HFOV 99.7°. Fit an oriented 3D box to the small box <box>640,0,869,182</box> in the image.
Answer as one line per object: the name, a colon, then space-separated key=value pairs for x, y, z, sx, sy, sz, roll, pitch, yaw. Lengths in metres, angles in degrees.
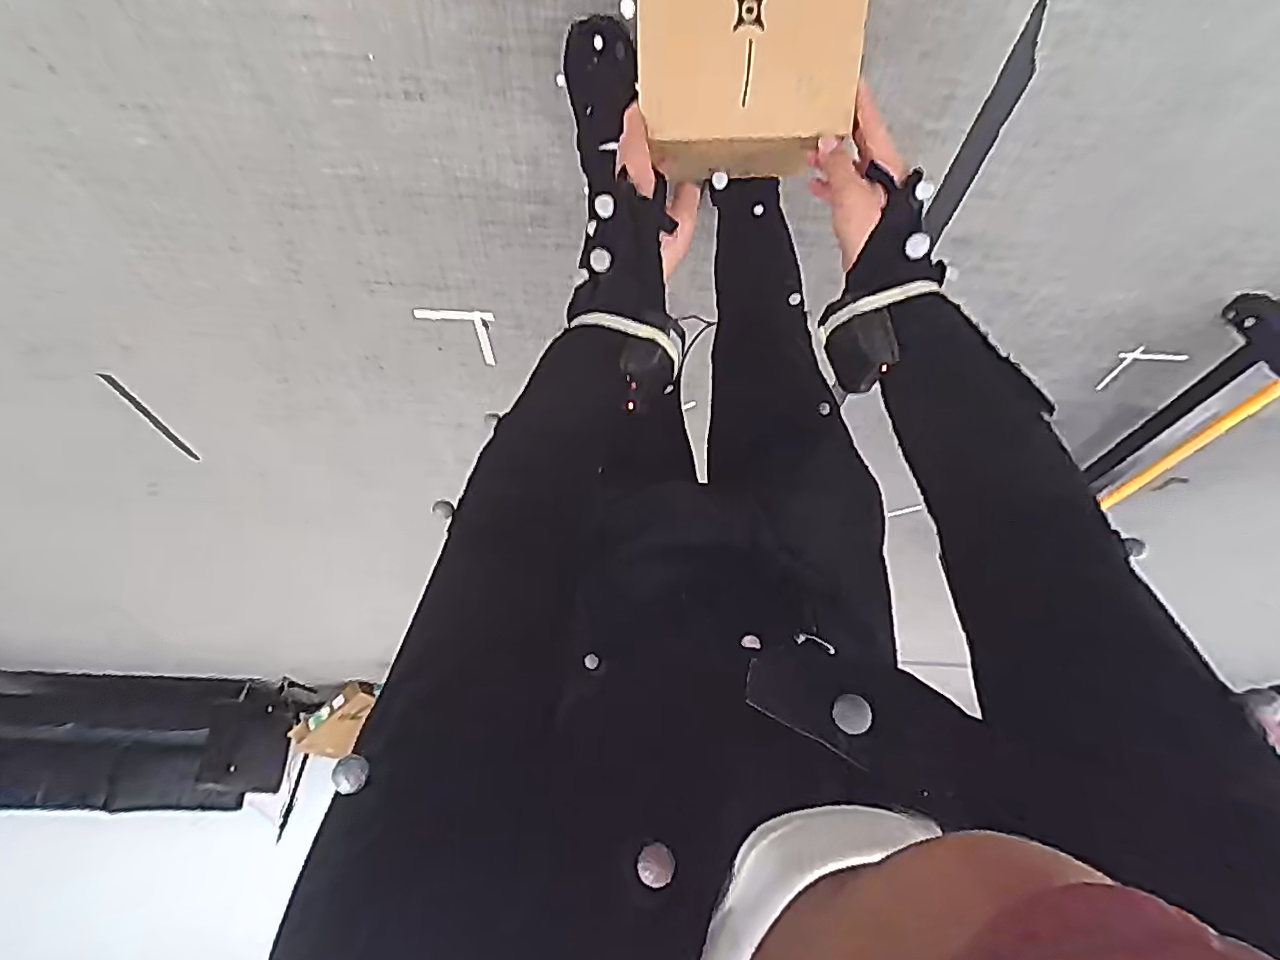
small box: x=0.083 y=-0.367 z=0.460 sx=0.168 sy=0.176 sz=0.179 roll=0 pitch=111 yaw=2
